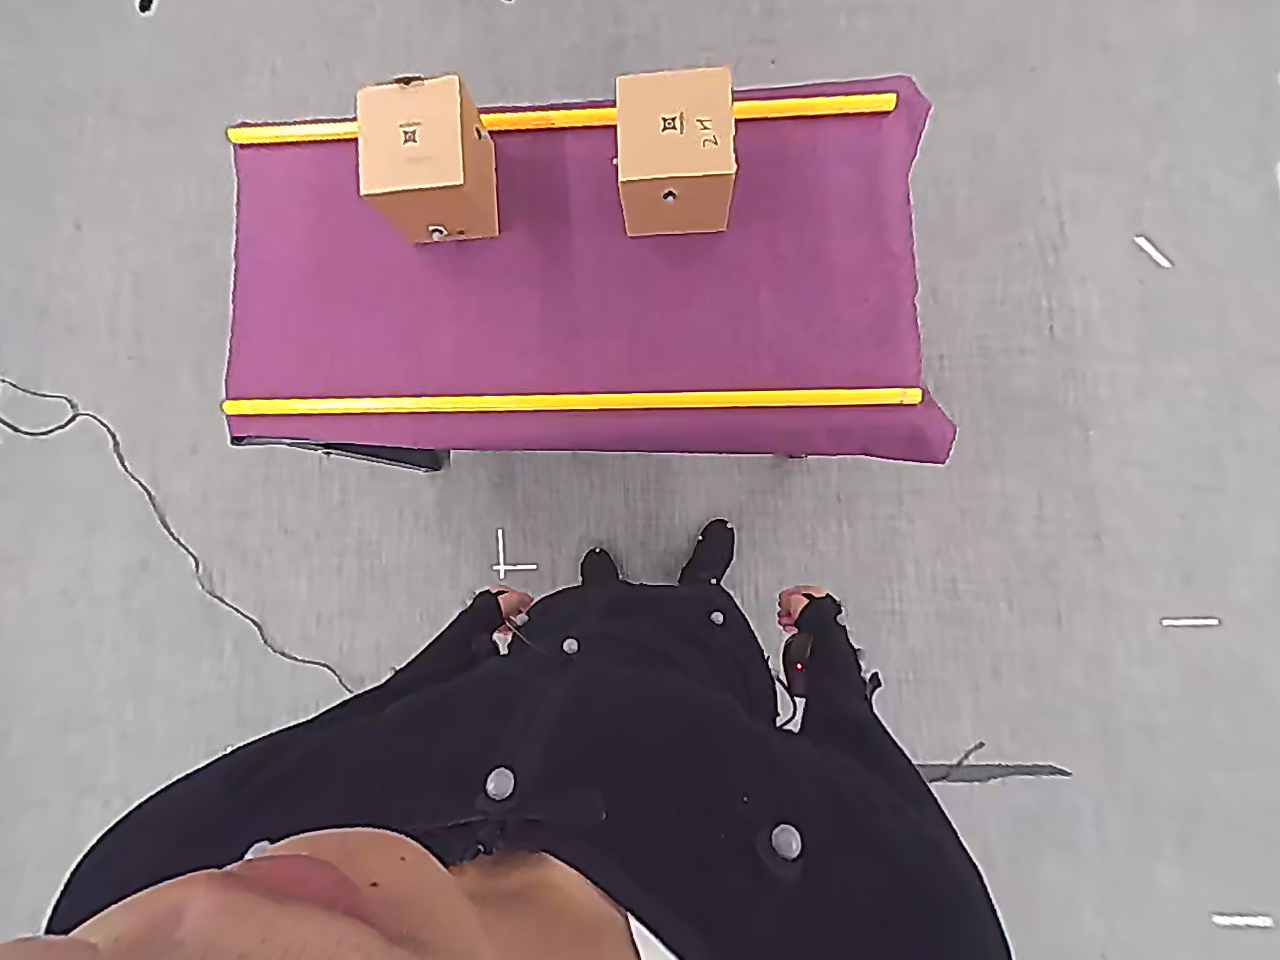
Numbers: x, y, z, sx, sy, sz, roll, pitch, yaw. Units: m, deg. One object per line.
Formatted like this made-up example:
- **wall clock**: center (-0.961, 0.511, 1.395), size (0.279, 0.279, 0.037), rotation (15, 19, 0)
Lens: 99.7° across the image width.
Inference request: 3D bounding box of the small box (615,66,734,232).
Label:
- **small box**: center (0.056, -0.523, 0.876), size (0.179, 0.176, 0.168), rotation (-1, 87, 3)

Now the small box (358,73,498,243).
- **small box**: center (-0.344, -0.525, 0.901), size (0.168, 0.176, 0.179), rotation (-4, 87, 4)
